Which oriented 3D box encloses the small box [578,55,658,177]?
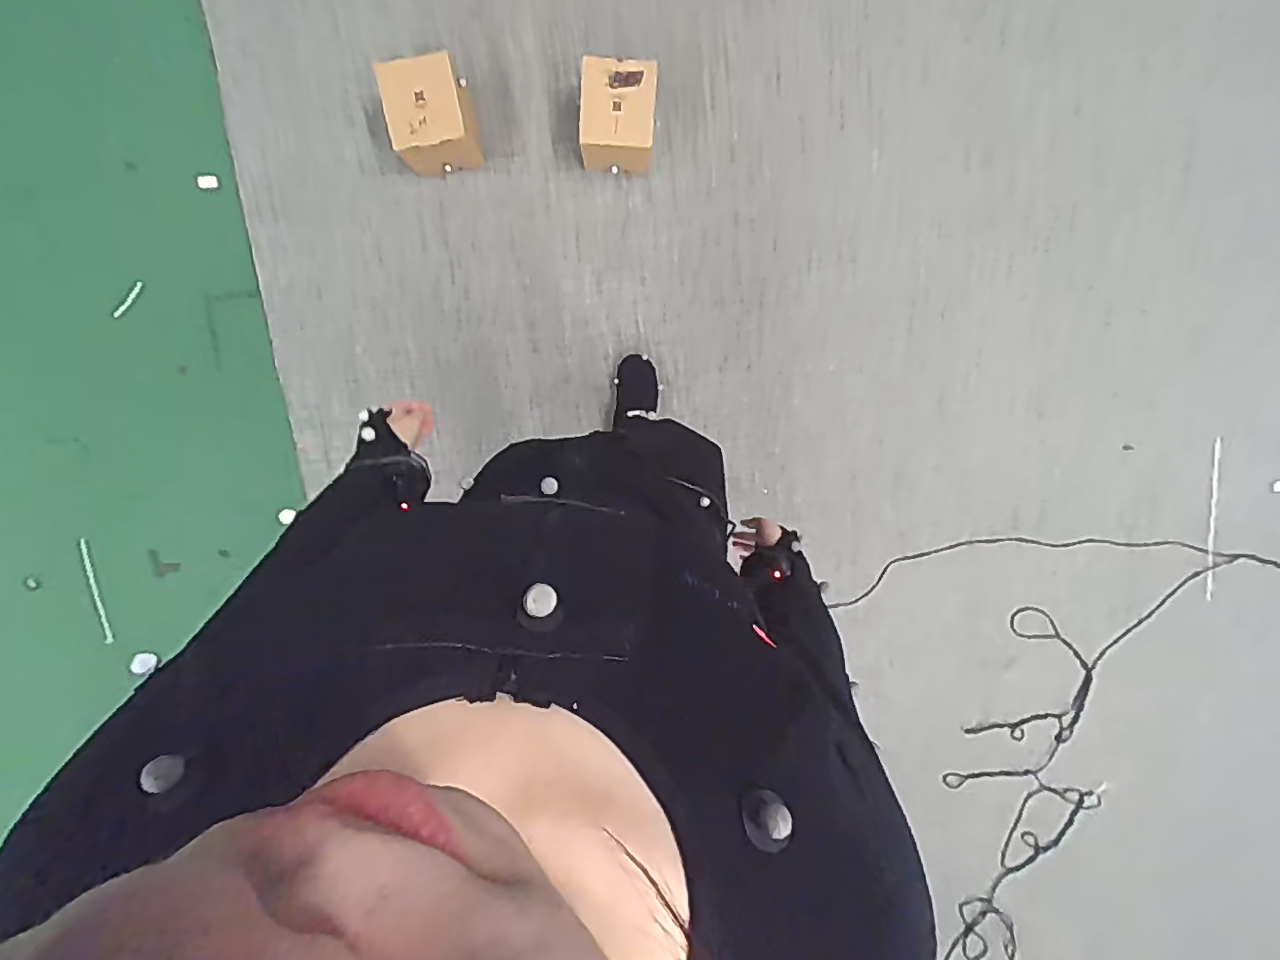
[{"bbox_3d":[-0.052,-0.832,1.252,0.168,0.176,0.179,4,100,-1],"label":"small box"}]

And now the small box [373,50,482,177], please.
[{"bbox_3d":[-0.480,-0.833,1.244,0.168,0.176,0.179,-10,100,1],"label":"small box"}]
